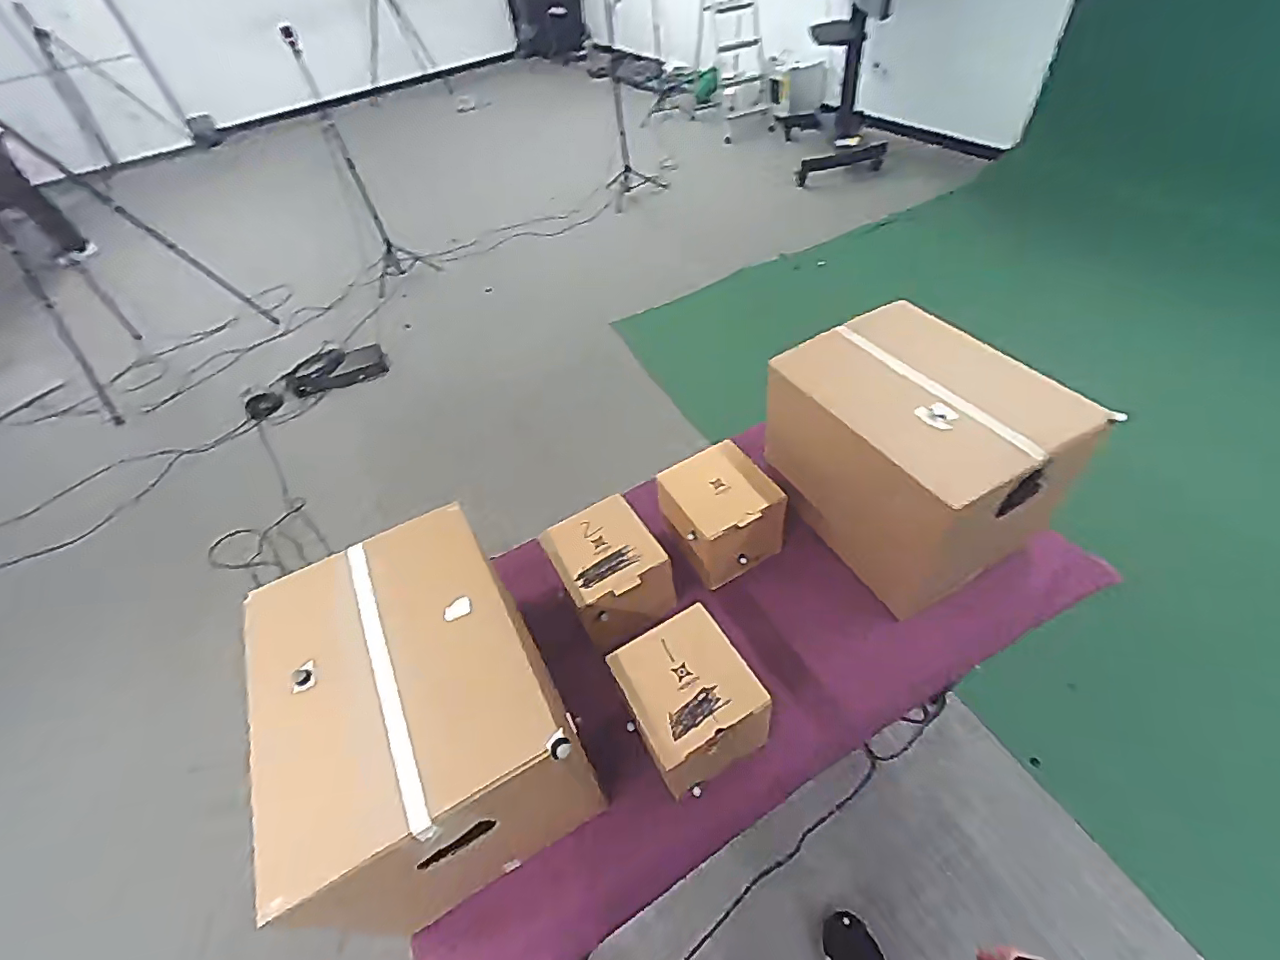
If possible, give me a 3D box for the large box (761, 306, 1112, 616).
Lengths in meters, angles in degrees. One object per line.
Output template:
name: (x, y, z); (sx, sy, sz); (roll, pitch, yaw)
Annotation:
large box: (0.466, -0.046, 0.968); (0.320, 0.320, 0.408); (-27, 50, -13)
